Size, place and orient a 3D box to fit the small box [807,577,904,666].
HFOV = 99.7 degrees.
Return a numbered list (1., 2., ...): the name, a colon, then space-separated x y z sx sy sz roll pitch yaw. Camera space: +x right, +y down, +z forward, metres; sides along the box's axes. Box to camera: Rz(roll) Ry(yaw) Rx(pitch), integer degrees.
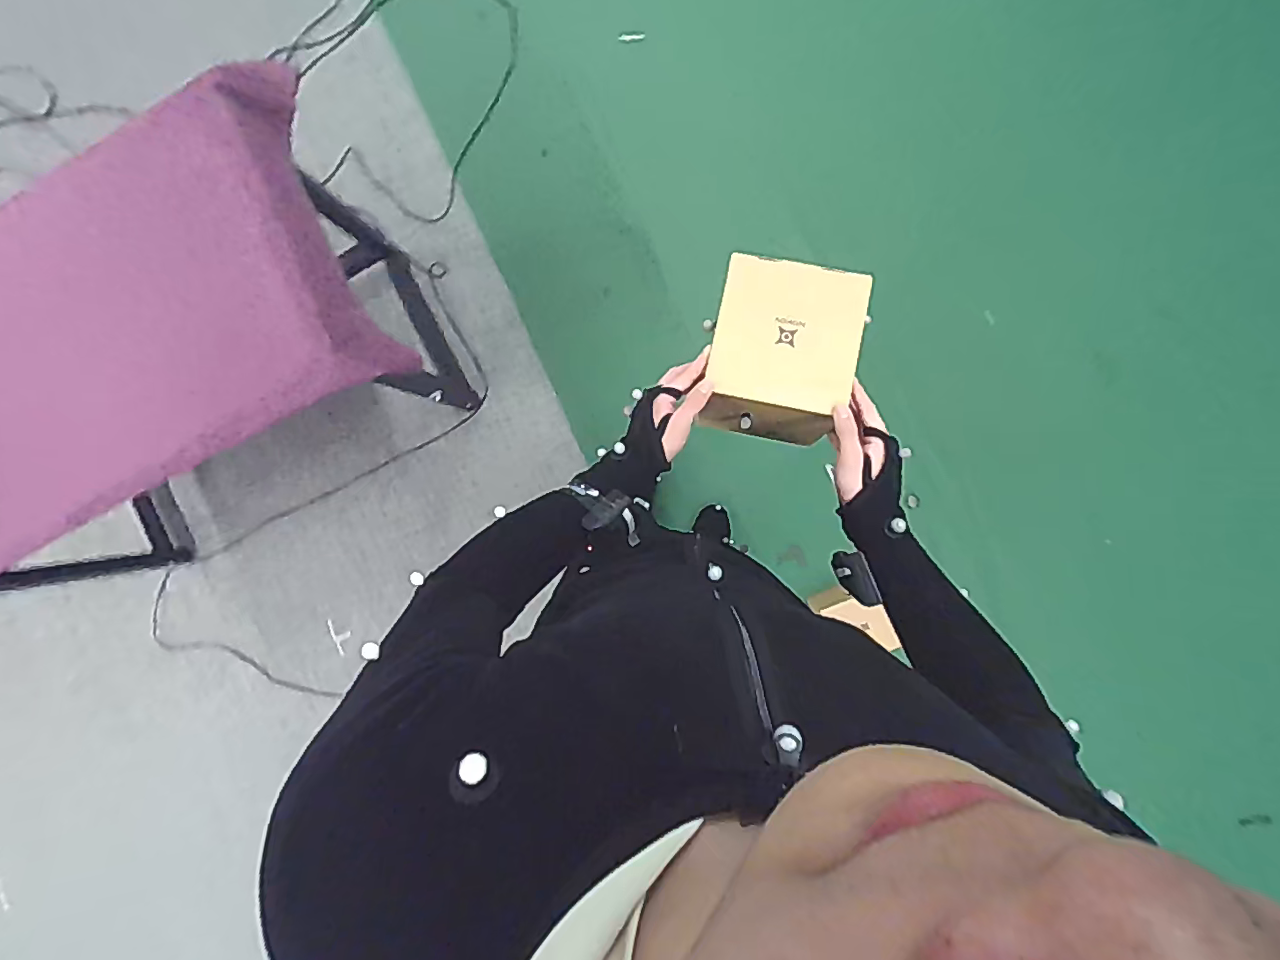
1. small box: 0.591 0.385 1.506 0.179 0.176 0.168 -23 87 5
